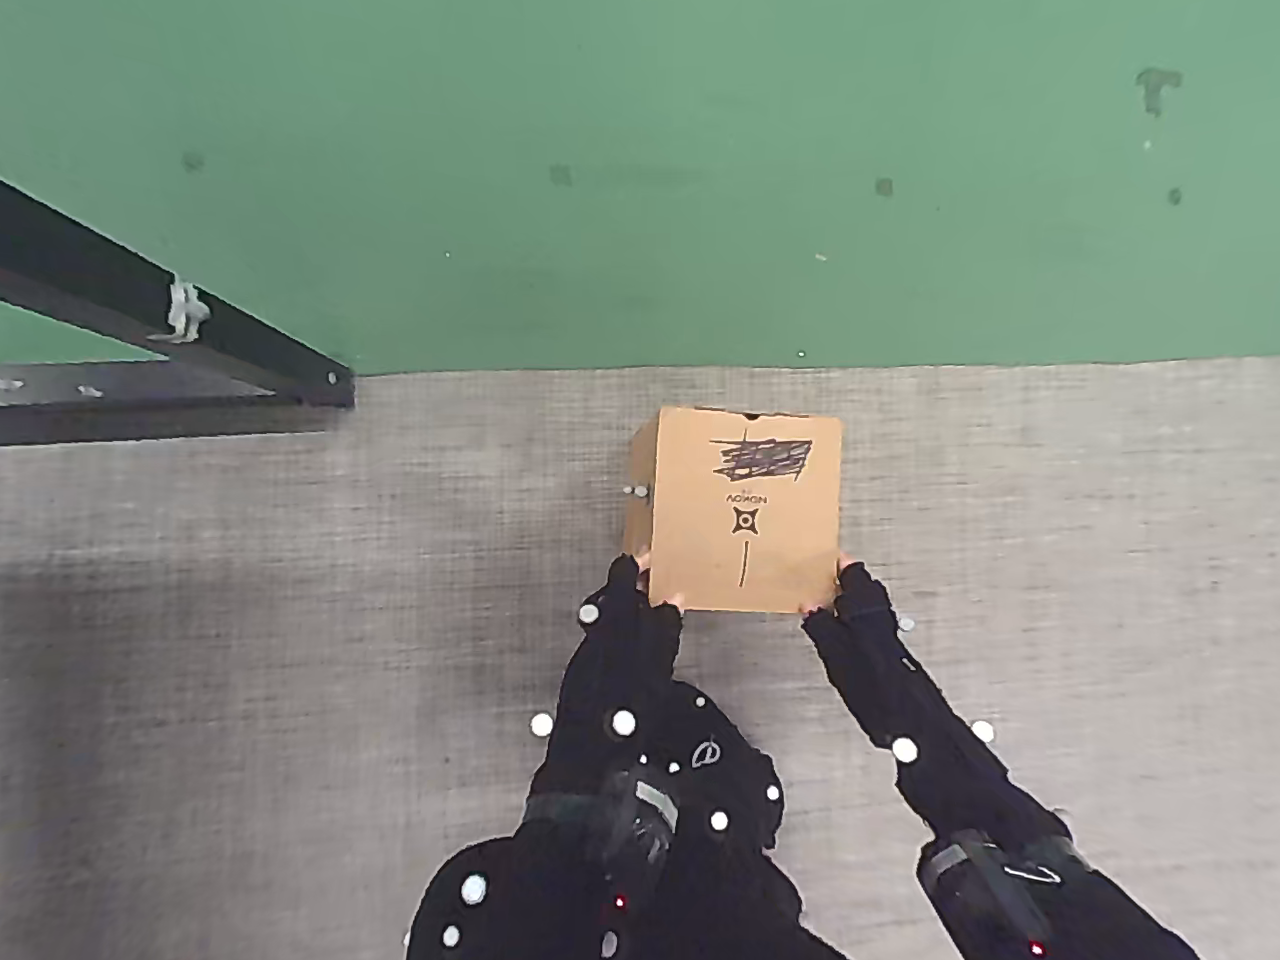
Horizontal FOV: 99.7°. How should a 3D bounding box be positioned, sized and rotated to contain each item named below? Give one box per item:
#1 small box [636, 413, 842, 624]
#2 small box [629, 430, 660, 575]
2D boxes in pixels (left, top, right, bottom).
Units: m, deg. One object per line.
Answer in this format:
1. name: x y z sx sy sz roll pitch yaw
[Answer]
1. small box: 0.086 0.038 0.548 0.168 0.176 0.179 4 87 -4
2. small box: 0.075 0.037 0.713 0.168 0.176 0.179 4 88 -4
